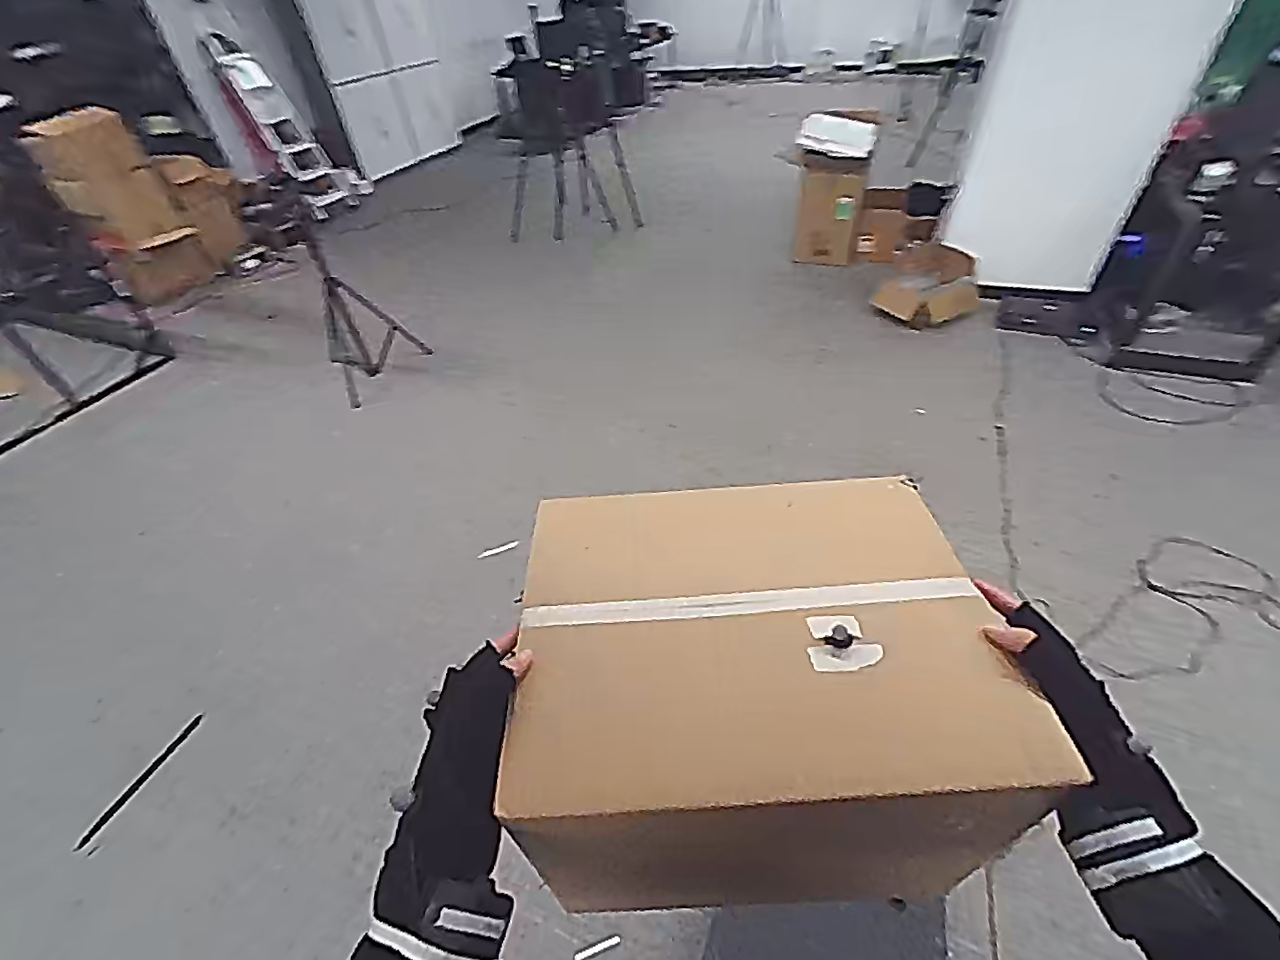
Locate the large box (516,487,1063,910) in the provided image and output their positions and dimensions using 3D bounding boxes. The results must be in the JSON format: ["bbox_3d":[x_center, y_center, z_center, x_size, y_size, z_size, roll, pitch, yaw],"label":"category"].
[{"bbox_3d":[0.109,0.234,0.593,0.408,0.320,0.320,-4,41,1],"label":"large box"}]
